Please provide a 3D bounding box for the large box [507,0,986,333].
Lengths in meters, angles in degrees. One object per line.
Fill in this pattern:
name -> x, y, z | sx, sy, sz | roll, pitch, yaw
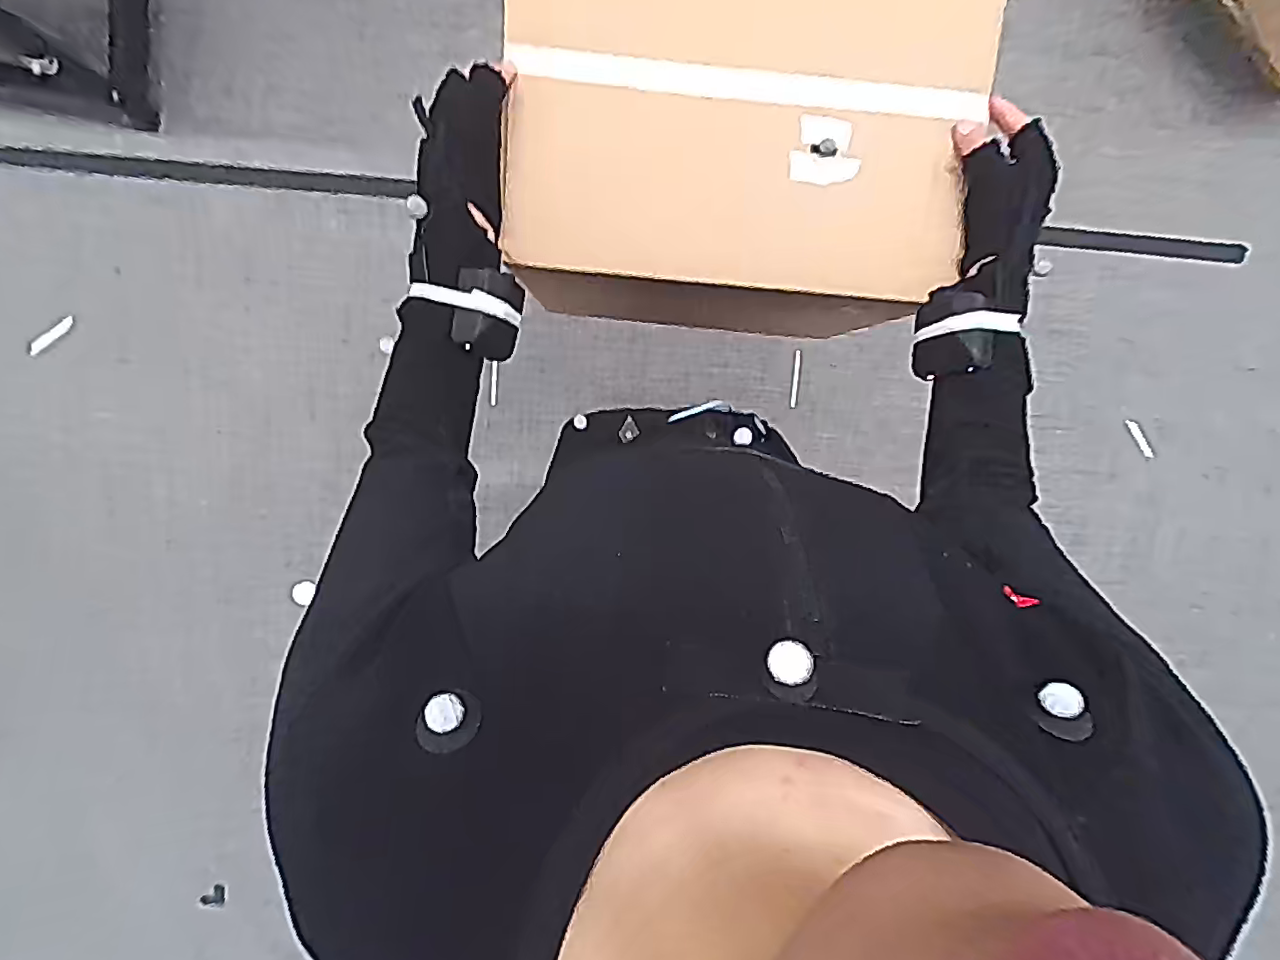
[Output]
large box -> 0.081, -0.353, 0.611 | 0.408, 0.320, 0.320 | 5, 100, -3
